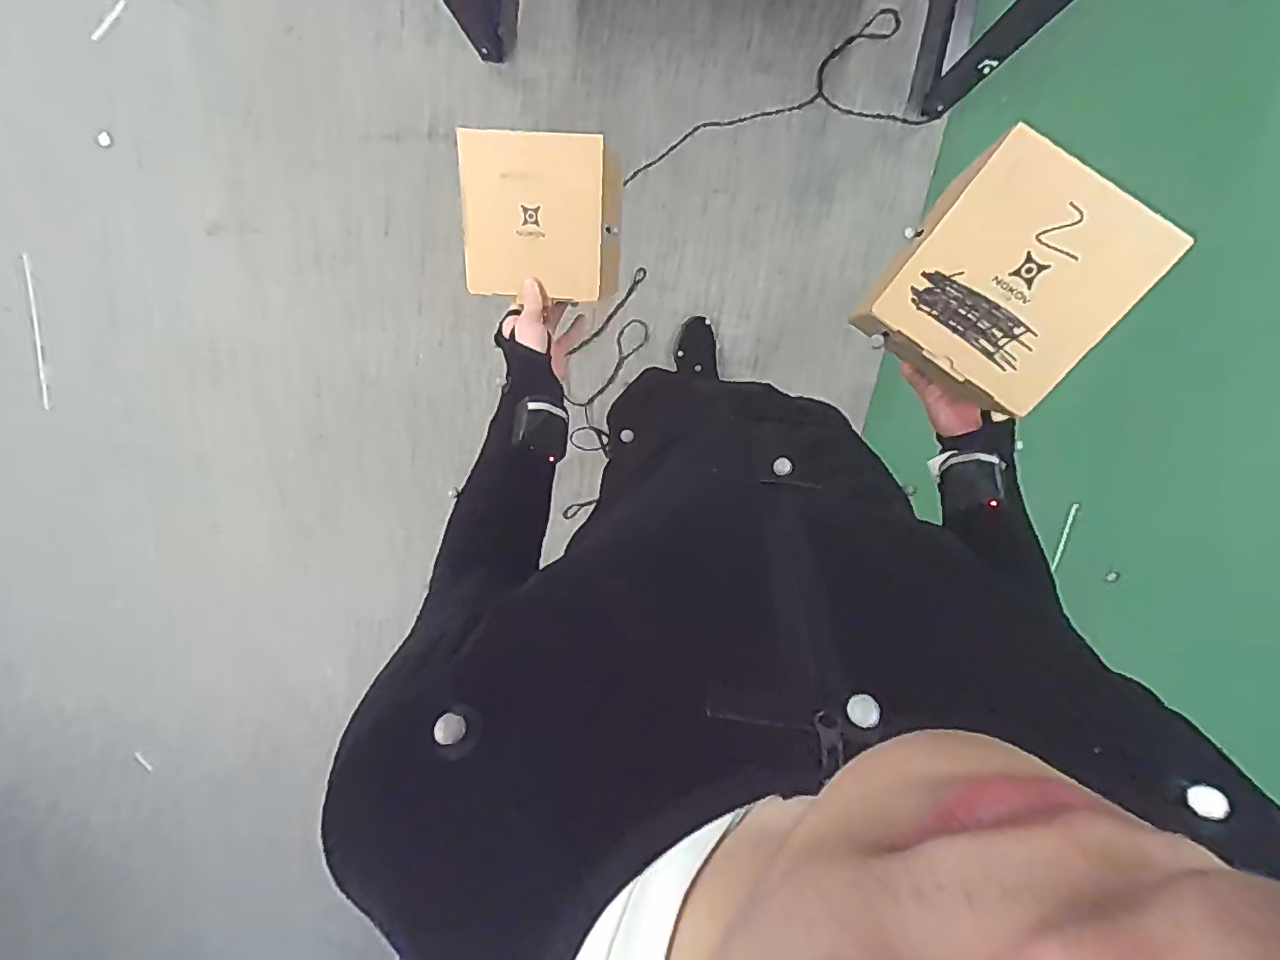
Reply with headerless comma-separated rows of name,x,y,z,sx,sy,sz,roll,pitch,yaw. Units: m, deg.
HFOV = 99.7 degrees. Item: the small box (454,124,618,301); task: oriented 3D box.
small box,-0.122,-0.335,0.695,0.168,0.176,0.179,6,114,3
